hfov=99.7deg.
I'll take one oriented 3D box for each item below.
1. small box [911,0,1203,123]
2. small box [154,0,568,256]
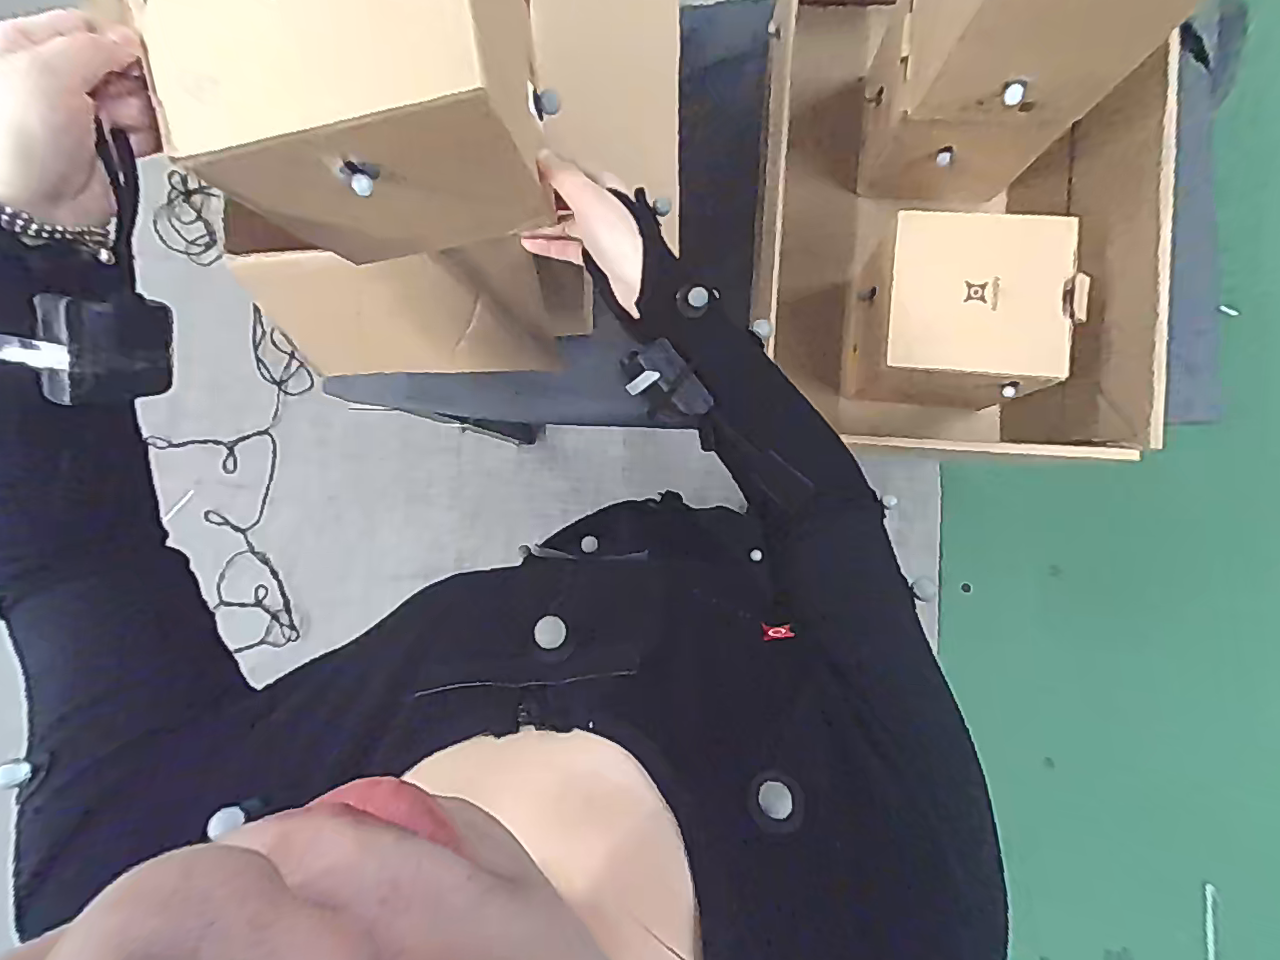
[{"bbox_3d":[0.353,-0.451,0.466,0.168,0.176,0.179,4,91,6],"label":"small box"},{"bbox_3d":[-0.158,-0.263,0.348,0.179,0.176,0.168,-9,94,4],"label":"small box"}]
